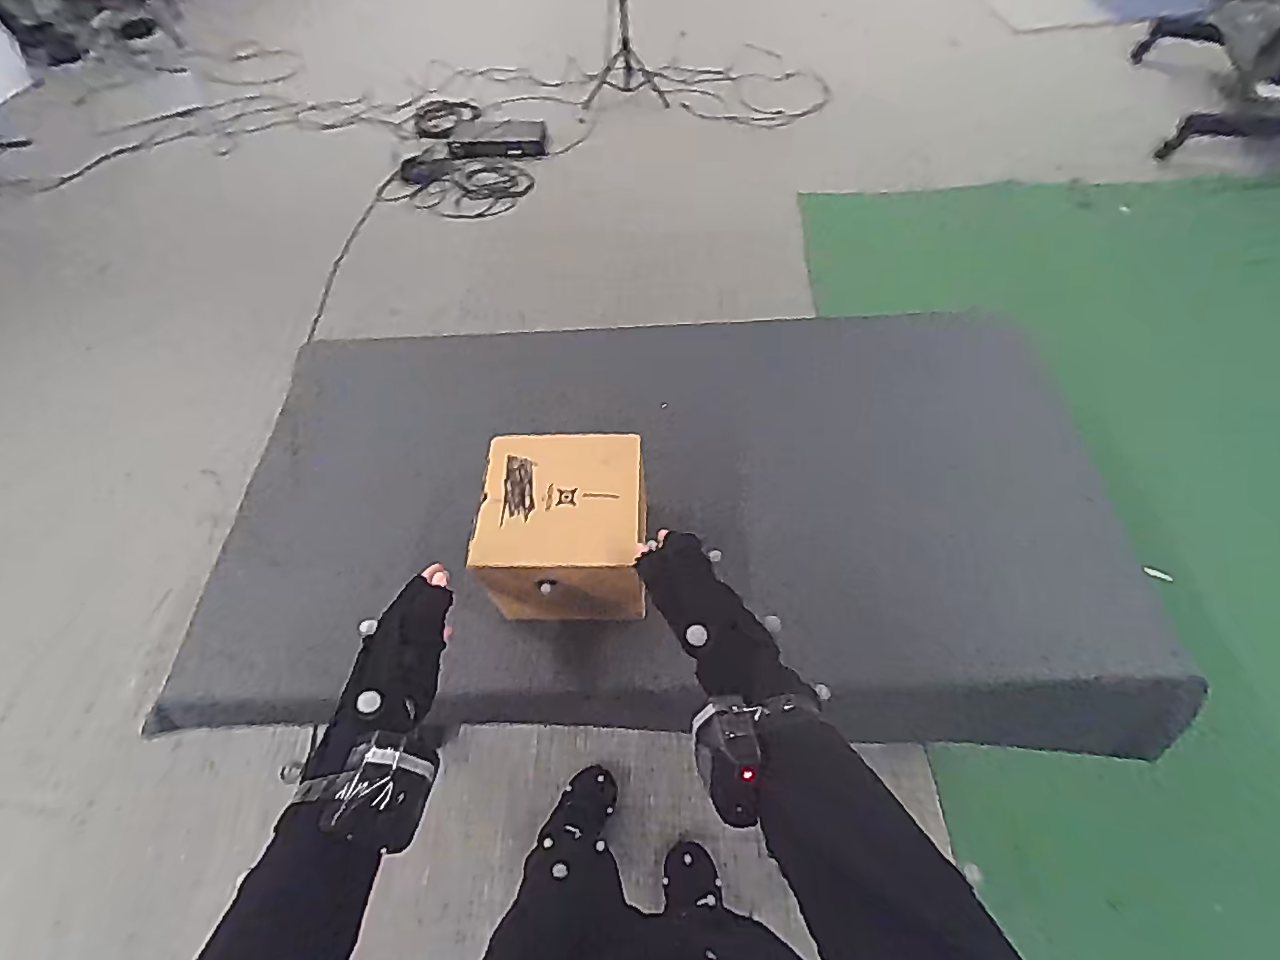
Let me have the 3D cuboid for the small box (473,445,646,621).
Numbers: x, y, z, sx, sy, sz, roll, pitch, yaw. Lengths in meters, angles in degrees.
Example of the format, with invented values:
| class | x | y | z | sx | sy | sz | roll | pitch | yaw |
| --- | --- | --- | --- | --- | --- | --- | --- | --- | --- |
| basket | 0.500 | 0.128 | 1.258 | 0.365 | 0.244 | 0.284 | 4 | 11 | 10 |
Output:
| class | x | y | z | sx | sy | sz | roll | pitch | yaw |
| --- | --- | --- | --- | --- | --- | --- | --- | --- | --- |
| small box | -0.084 | 0.071 | 0.670 | 0.179 | 0.176 | 0.168 | -1 | 58 | 2 |
